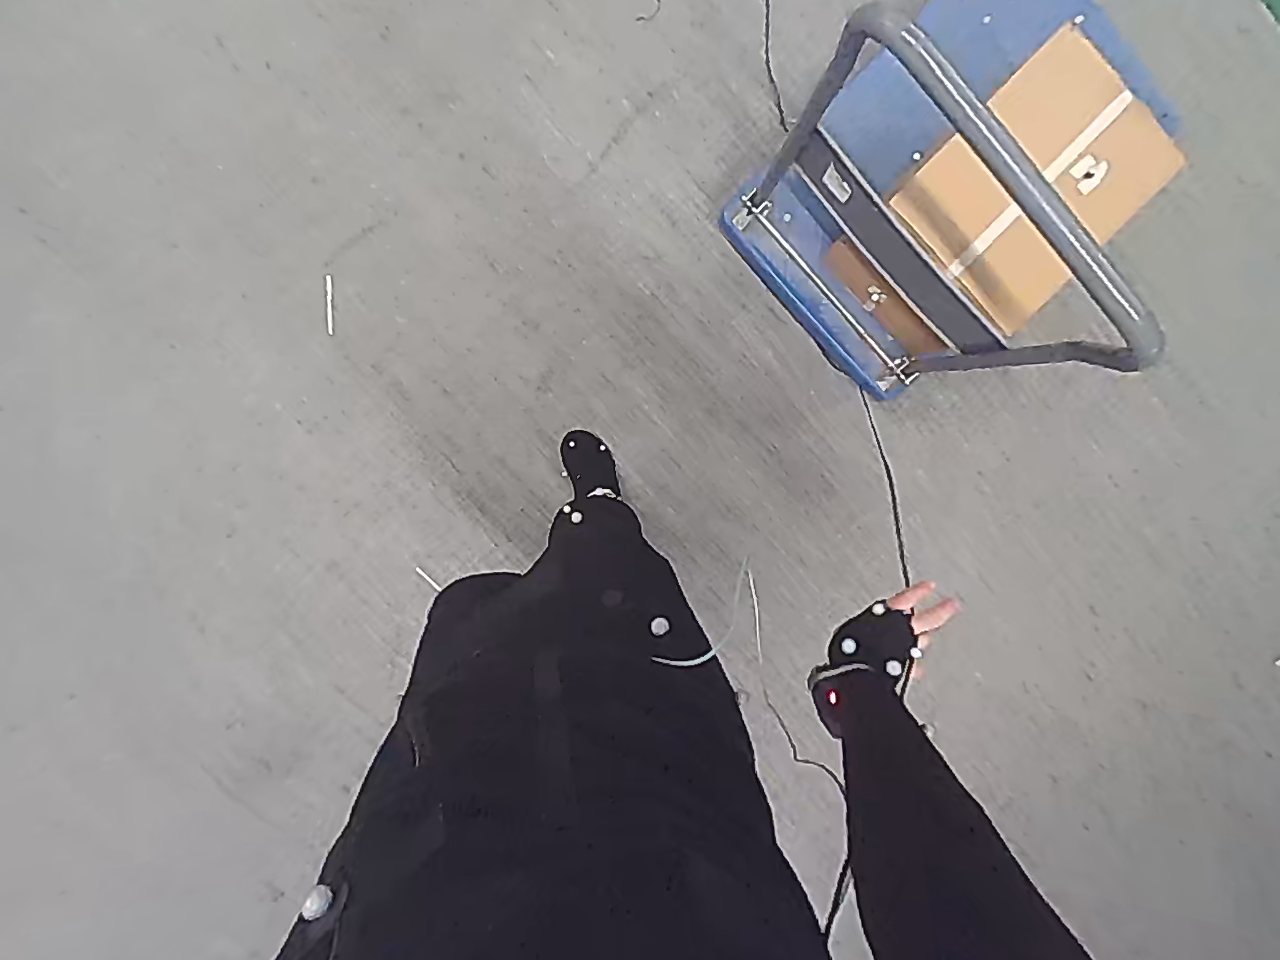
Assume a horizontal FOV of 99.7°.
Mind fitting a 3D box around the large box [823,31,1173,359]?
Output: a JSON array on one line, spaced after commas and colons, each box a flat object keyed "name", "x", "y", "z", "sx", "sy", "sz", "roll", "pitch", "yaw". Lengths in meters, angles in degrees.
[{"name": "large box", "x": 0.645, "y": -0.499, "z": 1.047, "sx": 0.320, "sy": 0.320, "sz": 0.408, "roll": 44, "pitch": 92, "yaw": -6}]
